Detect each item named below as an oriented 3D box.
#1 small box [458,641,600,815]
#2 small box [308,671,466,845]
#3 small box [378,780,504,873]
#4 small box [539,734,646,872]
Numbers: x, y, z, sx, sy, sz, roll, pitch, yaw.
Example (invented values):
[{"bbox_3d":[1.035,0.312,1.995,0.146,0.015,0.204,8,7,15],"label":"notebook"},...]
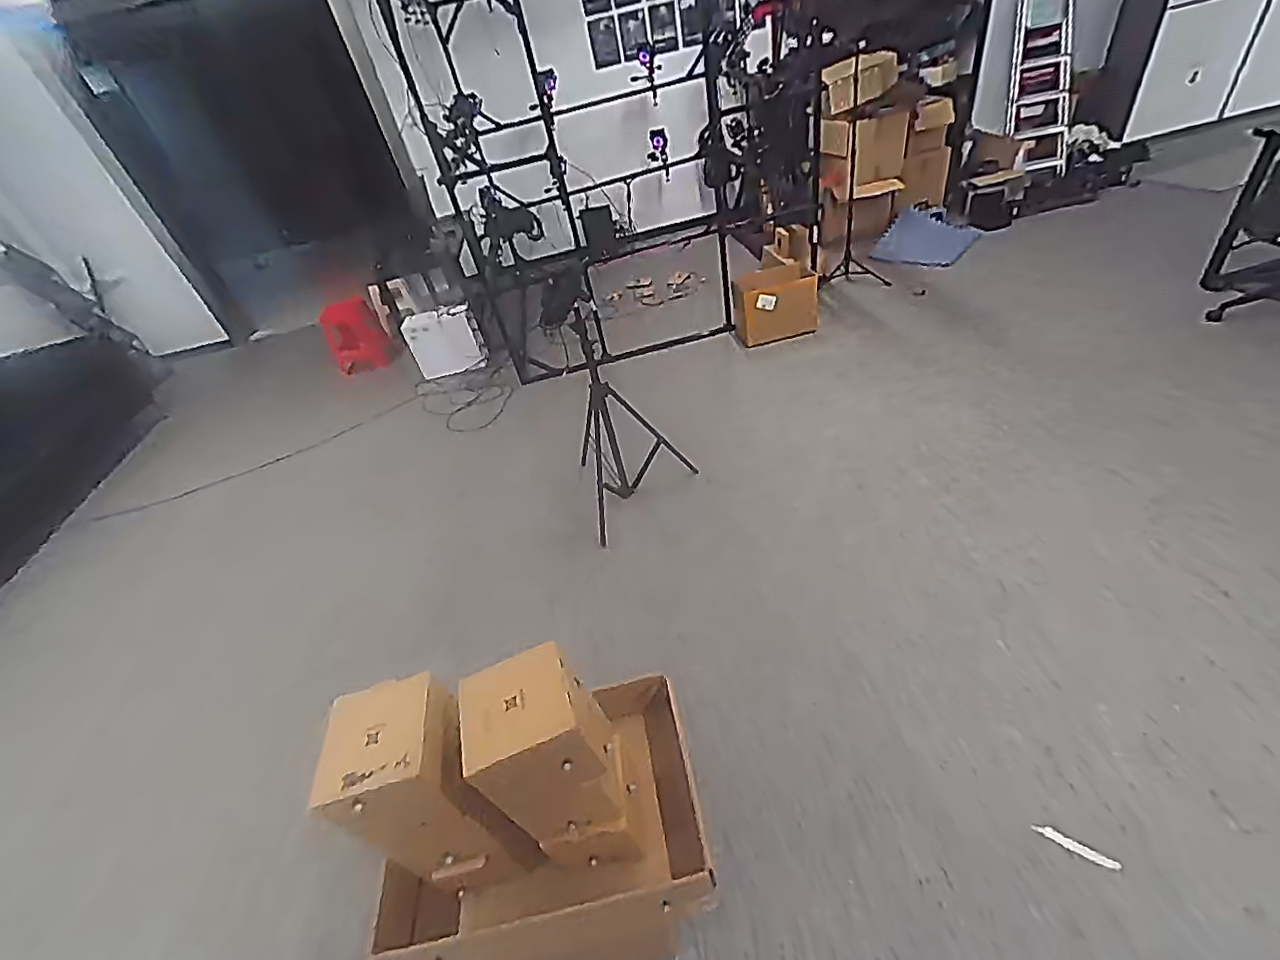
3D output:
[{"bbox_3d":[-0.174,0.402,0.877,0.179,0.176,0.168,-22,38,-6],"label":"small box"},{"bbox_3d":[-0.391,0.451,0.881,0.168,0.176,0.179,-17,38,-1],"label":"small box"},{"bbox_3d":[-0.353,0.575,0.985,0.168,0.176,0.179,-16,40,-2],"label":"small box"},{"bbox_3d":[-0.093,0.646,1.081,0.168,0.176,0.179,-15,40,4],"label":"small box"}]
